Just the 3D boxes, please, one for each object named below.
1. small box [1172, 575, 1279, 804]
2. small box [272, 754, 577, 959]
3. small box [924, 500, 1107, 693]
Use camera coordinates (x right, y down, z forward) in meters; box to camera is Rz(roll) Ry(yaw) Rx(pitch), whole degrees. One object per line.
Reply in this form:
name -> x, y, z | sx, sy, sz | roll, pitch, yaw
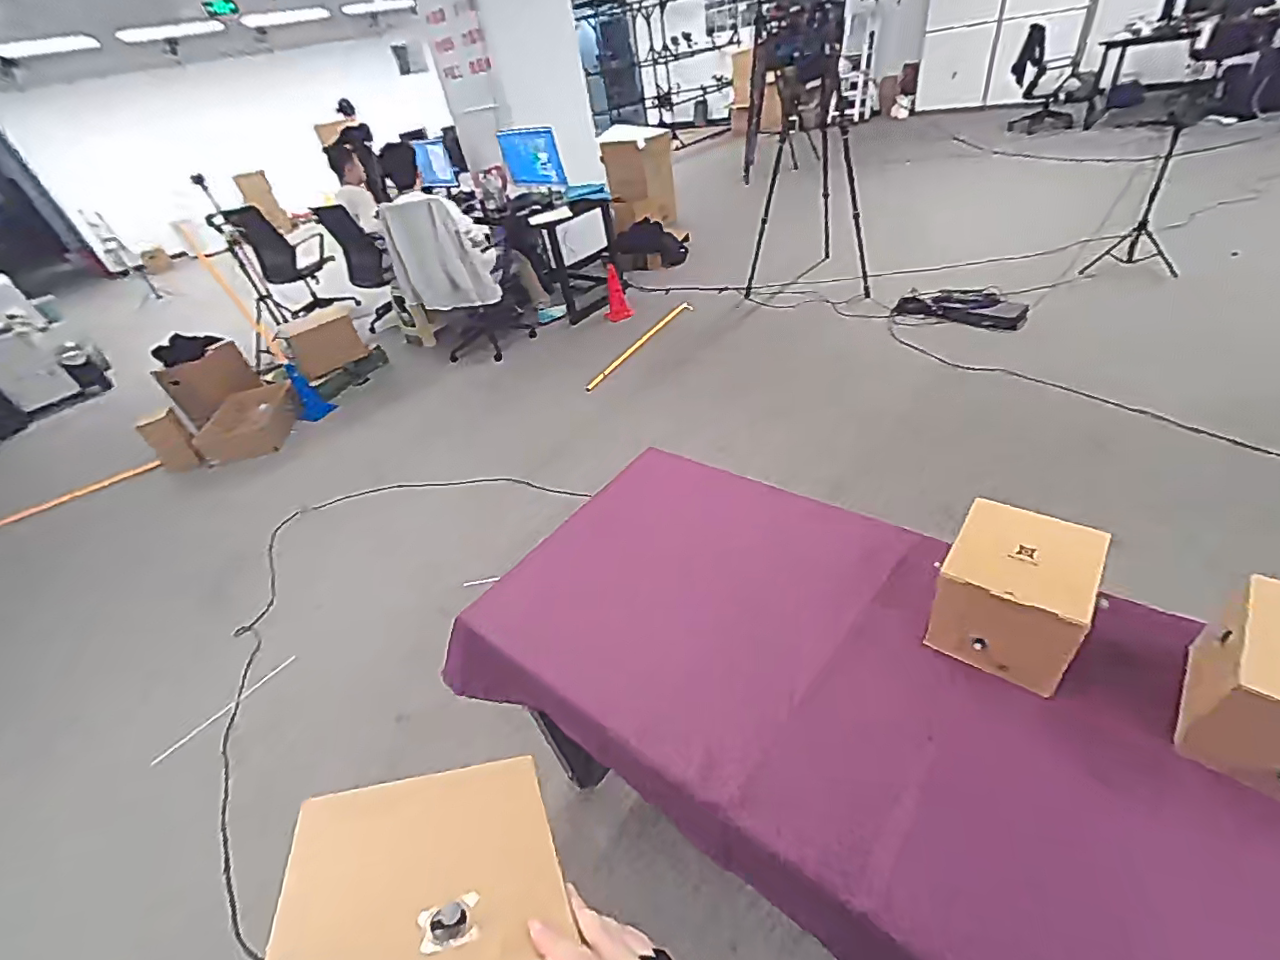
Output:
small box -> 0.745, 0.247, 0.605 | 0.168, 0.176, 0.179 | 22, 53, 38
small box -> -0.157, 0.333, 0.397 | 0.179, 0.168, 0.176 | 0, 16, -21
small box -> 0.531, 0.164, 0.781 | 0.168, 0.176, 0.179 | 20, 50, 35
